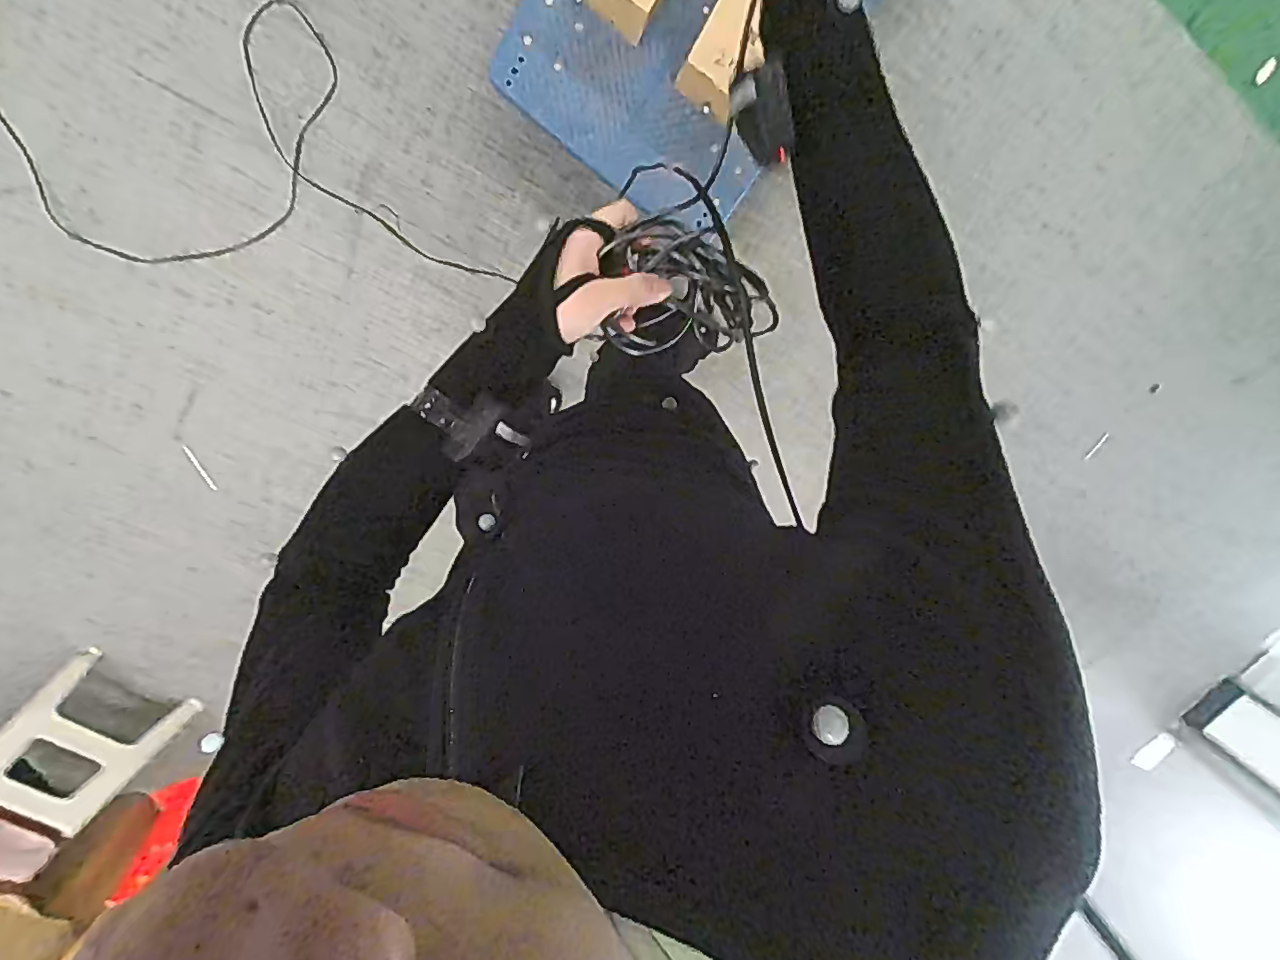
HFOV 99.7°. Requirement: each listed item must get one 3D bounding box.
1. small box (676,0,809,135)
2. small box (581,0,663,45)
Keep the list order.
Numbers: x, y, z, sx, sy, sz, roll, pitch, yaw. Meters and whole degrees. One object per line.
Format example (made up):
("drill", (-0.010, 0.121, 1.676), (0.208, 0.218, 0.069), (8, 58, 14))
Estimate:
("small box", (0.187, -0.817, 1.051), (0.168, 0.176, 0.179), (28, 107, -16))
("small box", (-0.021, -0.942, 0.972), (0.168, 0.176, 0.179), (30, 106, -18))
